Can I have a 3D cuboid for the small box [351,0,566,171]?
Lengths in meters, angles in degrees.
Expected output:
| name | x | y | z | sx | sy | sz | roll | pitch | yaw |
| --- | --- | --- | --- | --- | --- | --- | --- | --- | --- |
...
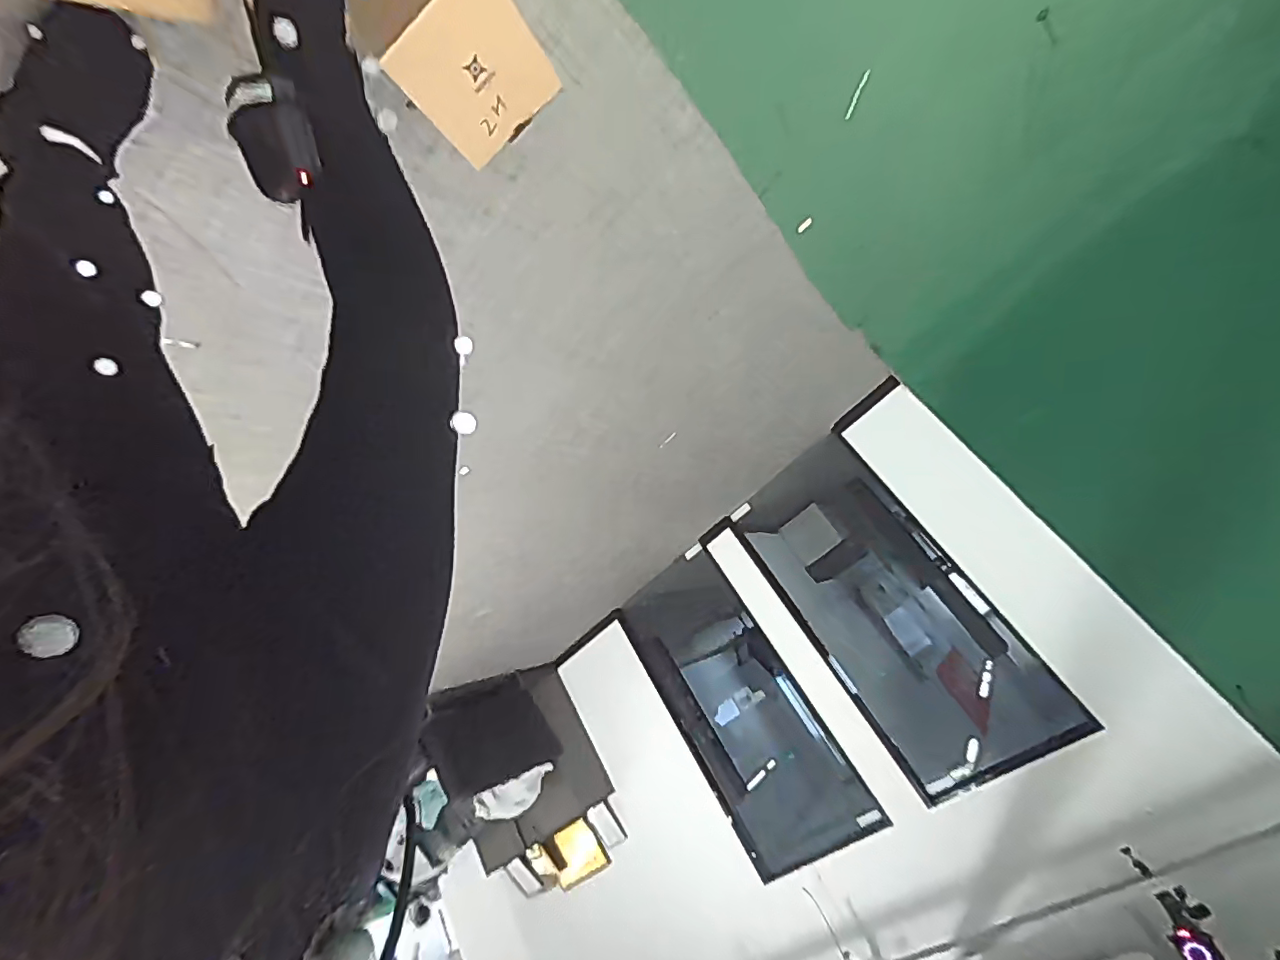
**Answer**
| name | x | y | z | sx | sy | sz | roll | pitch | yaw |
| --- | --- | --- | --- | --- | --- | --- | --- | --- | --- |
| small box | -0.234 | -0.557 | 0.697 | 0.168 | 0.176 | 0.179 | -38 | 155 | 12 |
